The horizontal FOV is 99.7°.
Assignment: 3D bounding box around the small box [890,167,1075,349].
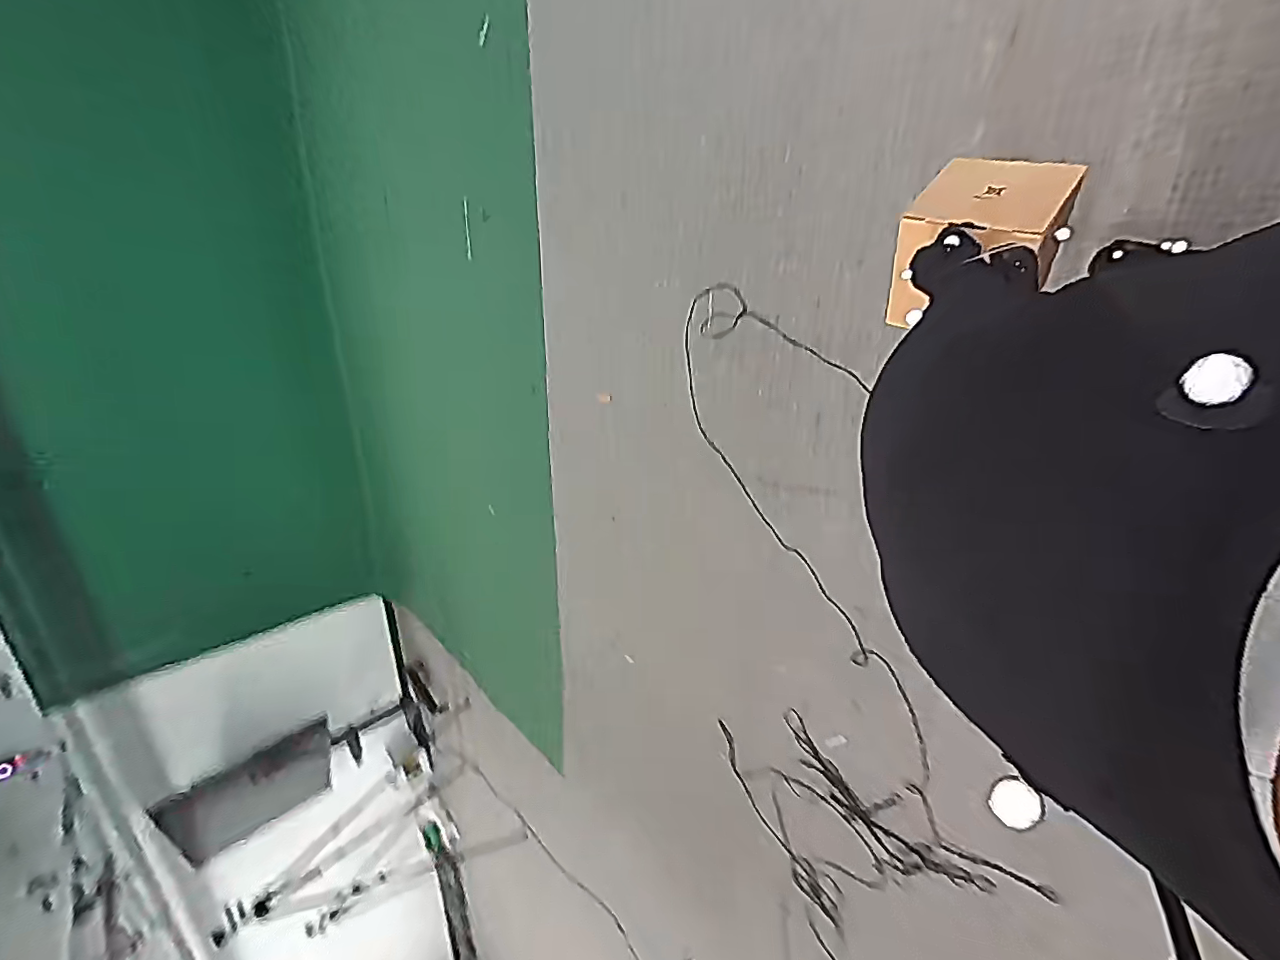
[{"bbox_3d":[0.477,-0.320,0.777,0.168,0.179,0.176,25,152,34],"label":"small box"}]
